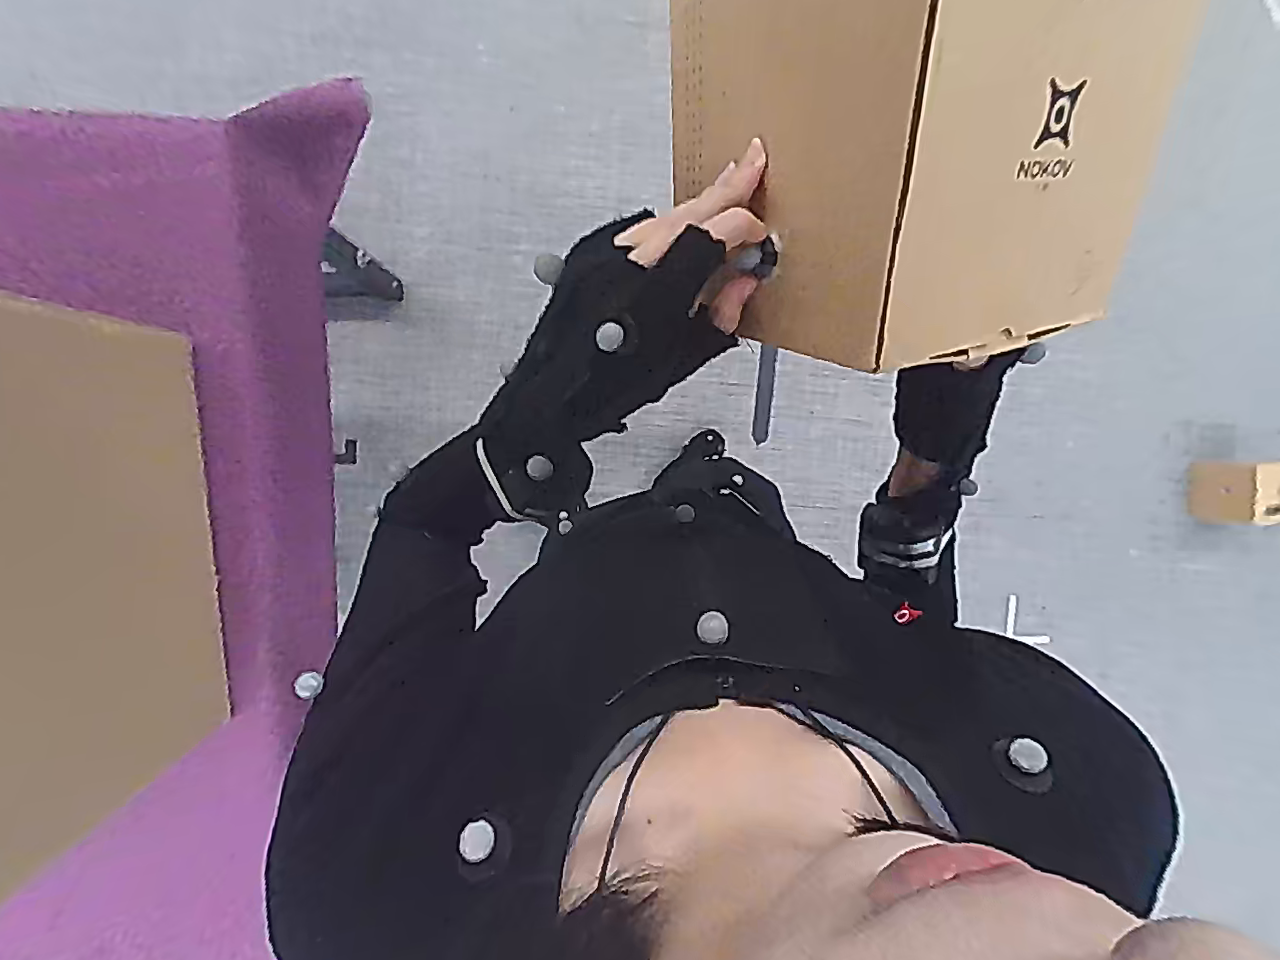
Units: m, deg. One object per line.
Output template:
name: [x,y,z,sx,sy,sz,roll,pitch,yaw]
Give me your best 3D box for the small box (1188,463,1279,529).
small box: [1.804,0.043,1.620,0.168,0.176,0.179,-3,94,-6]
